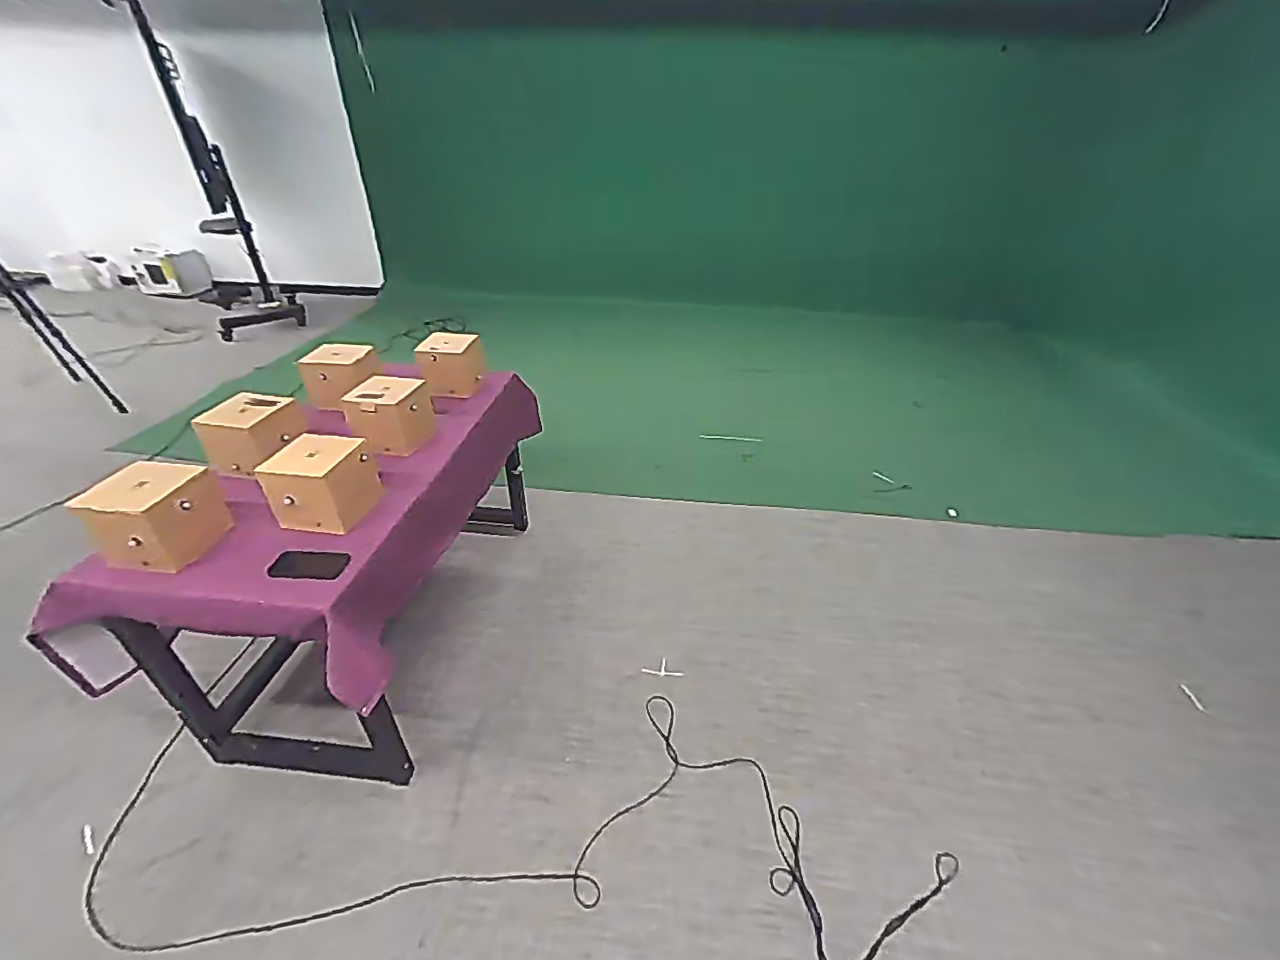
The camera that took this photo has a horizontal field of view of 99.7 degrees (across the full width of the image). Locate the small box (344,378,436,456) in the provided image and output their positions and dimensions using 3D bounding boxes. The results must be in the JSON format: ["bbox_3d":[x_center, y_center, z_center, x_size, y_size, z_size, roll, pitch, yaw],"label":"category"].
[{"bbox_3d":[-0.722,-0.184,1.586,0.168,0.176,0.179,6,33,8],"label":"small box"}]

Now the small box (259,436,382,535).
[{"bbox_3d":[-0.749,0.013,1.294,0.168,0.176,0.179,5,33,6],"label":"small box"}]

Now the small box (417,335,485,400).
[{"bbox_3d":[-0.656,-0.398,1.905,0.168,0.176,0.179,4,34,5],"label":"small box"}]

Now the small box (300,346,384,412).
[{"bbox_3d":[-0.978,-0.334,1.799,0.179,0.176,0.168,4,35,3],"label":"small box"}]
